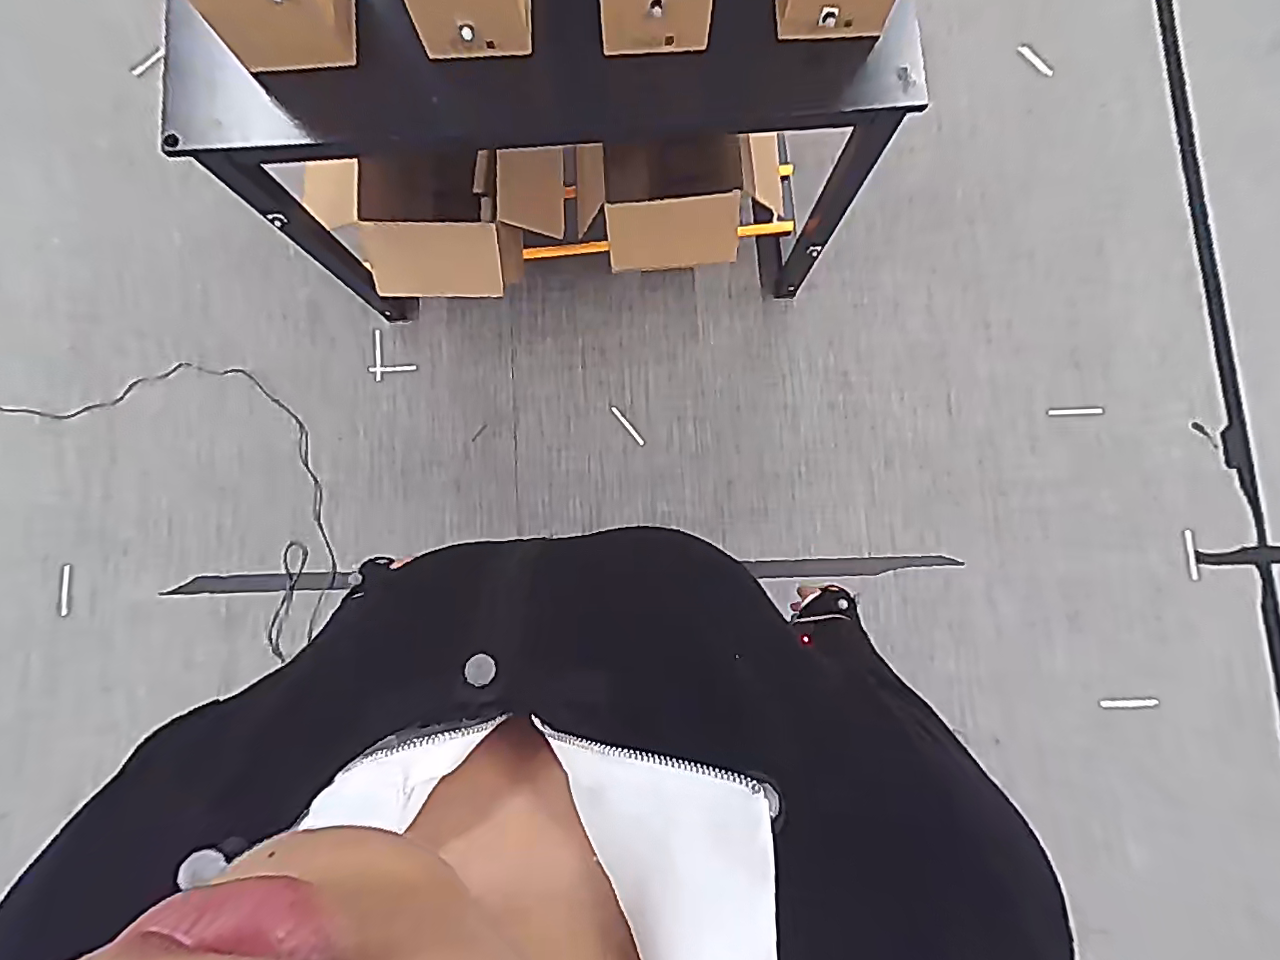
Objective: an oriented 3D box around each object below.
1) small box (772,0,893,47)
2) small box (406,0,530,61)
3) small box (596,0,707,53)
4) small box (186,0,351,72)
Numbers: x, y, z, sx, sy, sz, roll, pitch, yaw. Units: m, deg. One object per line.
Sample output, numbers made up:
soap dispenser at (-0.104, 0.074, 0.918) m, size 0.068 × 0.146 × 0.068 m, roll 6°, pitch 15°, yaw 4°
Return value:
small box at (0.291, -0.792, 0.797) m, size 0.168 × 0.176 × 0.179 m, roll -3°, pitch 84°, yaw 2°
small box at (-0.261, -0.766, 0.795) m, size 0.168 × 0.176 × 0.179 m, roll -2°, pitch 84°, yaw 0°
small box at (0.014, -0.772, 0.796) m, size 0.168 × 0.176 × 0.179 m, roll -3°, pitch 84°, yaw 0°
small box at (-0.545, -0.741, 0.791) m, size 0.179 × 0.176 × 0.168 m, roll -4°, pitch 83°, yaw -1°
